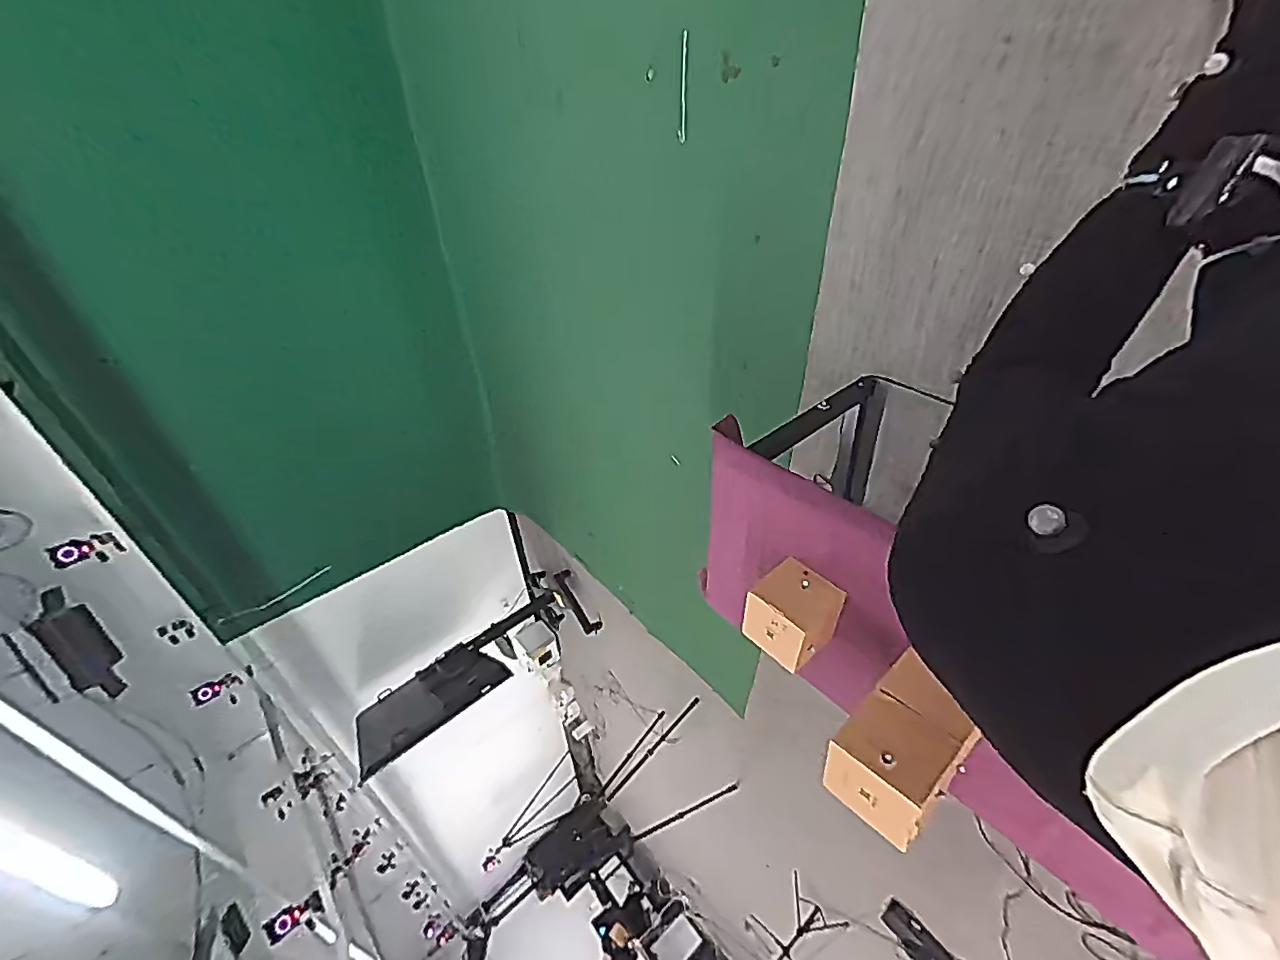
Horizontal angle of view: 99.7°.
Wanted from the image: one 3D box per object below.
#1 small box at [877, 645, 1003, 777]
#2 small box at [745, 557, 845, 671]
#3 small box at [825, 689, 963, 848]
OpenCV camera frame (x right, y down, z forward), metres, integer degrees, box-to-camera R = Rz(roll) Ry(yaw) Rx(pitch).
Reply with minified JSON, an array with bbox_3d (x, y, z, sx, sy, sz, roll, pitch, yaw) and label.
[{"bbox_3d":[0.610,0.474,1.126,0.179,0.176,0.168,31,139,42],"label":"small box"},{"bbox_3d":[0.384,0.328,1.344,0.168,0.176,0.179,35,142,36],"label":"small box"},{"bbox_3d":[0.487,0.544,1.043,0.179,0.176,0.168,30,137,41],"label":"small box"}]
